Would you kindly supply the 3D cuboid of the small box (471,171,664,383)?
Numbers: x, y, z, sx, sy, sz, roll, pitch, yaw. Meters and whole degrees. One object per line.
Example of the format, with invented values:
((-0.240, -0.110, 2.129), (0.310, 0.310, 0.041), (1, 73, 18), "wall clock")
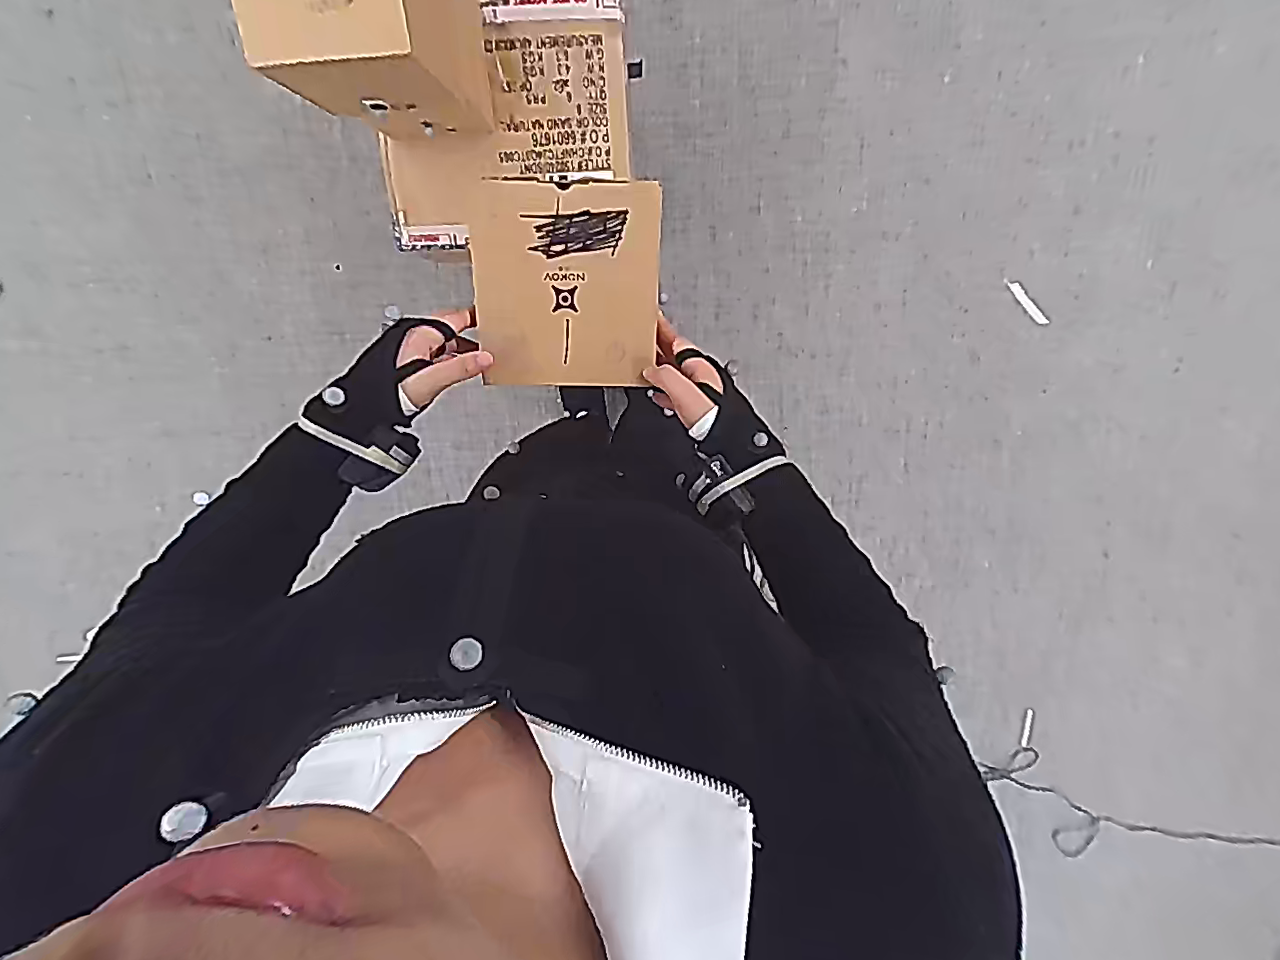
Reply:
((-0.067, -0.204, 0.559), (0.168, 0.176, 0.179), (1, 112, -2), "small box")

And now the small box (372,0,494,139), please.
((-0.306, -0.583, 0.721), (0.168, 0.176, 0.179), (-3, 109, 2), "small box")

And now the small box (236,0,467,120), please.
((-0.300, -0.512, 0.573), (0.168, 0.176, 0.179), (-3, 109, 2), "small box")
